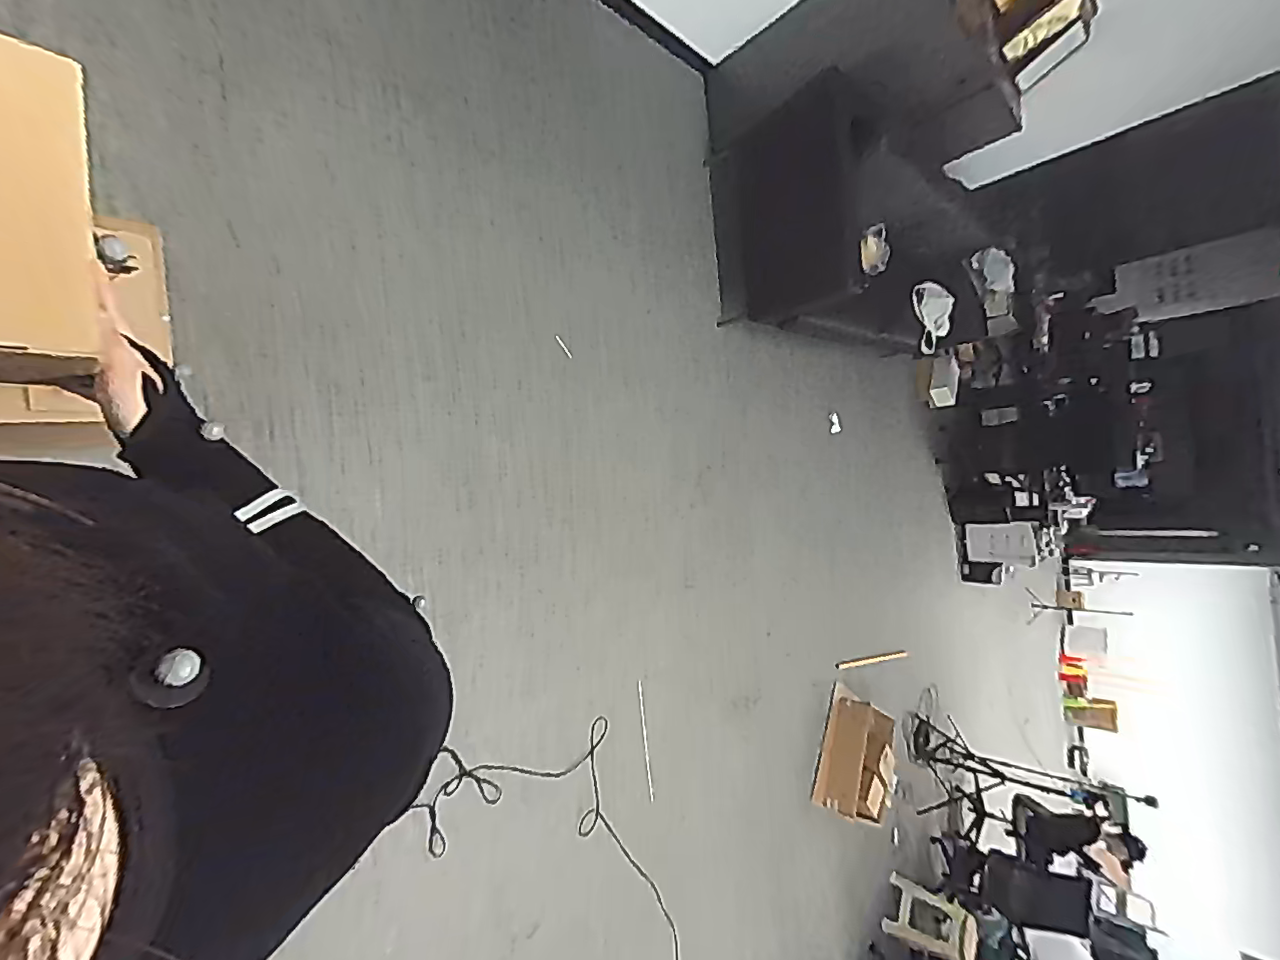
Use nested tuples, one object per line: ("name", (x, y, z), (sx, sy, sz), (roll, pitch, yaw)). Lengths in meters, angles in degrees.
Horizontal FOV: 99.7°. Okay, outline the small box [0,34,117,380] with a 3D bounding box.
("small box", (-0.444, -0.163, 0.328), (0.168, 0.176, 0.179), (-5, 95, -47))
